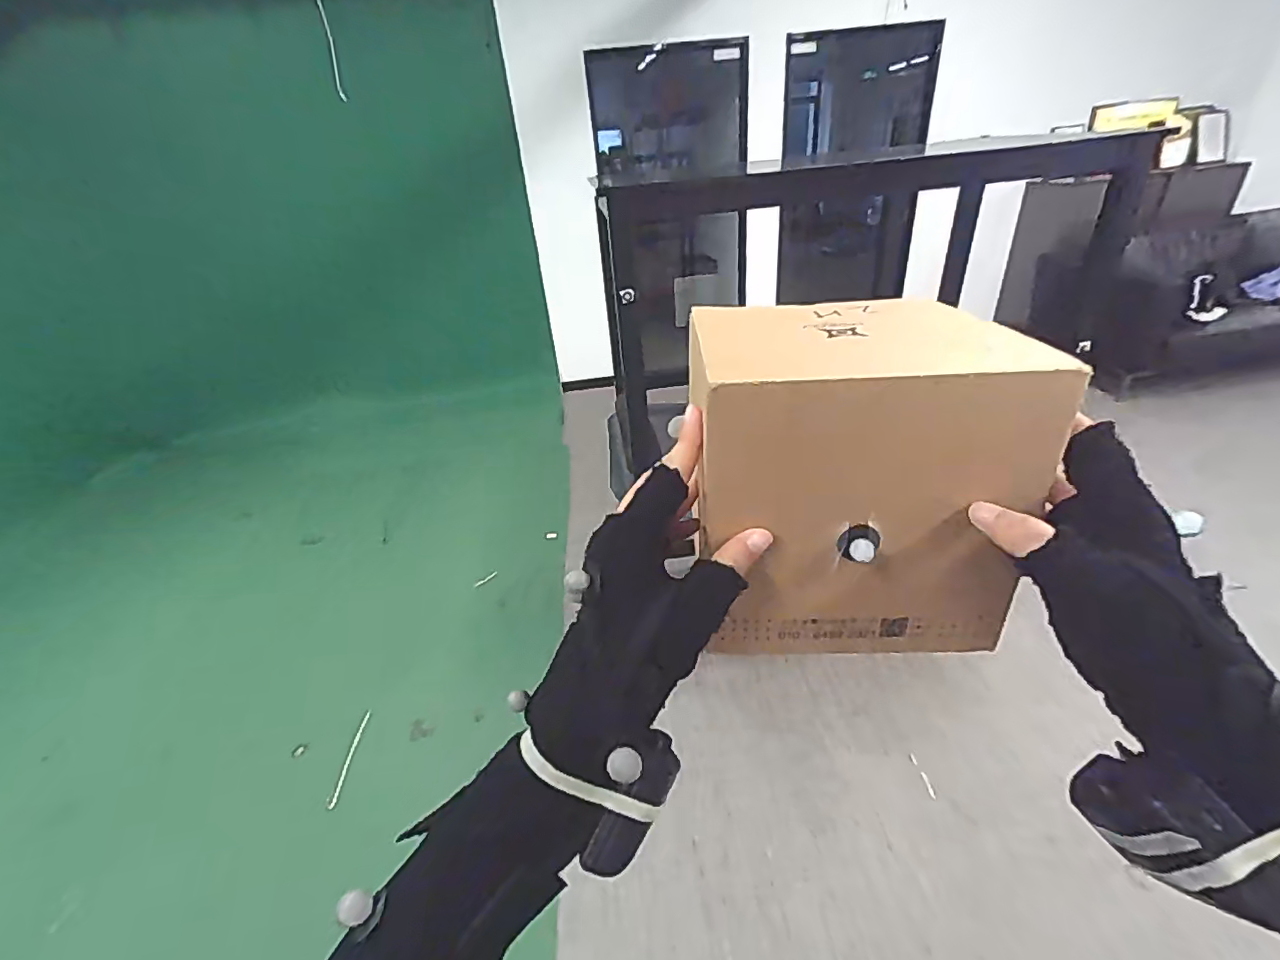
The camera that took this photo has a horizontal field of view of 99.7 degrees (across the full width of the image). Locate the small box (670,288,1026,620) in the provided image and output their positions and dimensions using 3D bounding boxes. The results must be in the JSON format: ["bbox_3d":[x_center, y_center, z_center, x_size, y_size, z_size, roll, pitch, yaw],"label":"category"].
[{"bbox_3d":[0.106,-0.024,0.360,0.168,0.176,0.179,-1,27,4],"label":"small box"}]
